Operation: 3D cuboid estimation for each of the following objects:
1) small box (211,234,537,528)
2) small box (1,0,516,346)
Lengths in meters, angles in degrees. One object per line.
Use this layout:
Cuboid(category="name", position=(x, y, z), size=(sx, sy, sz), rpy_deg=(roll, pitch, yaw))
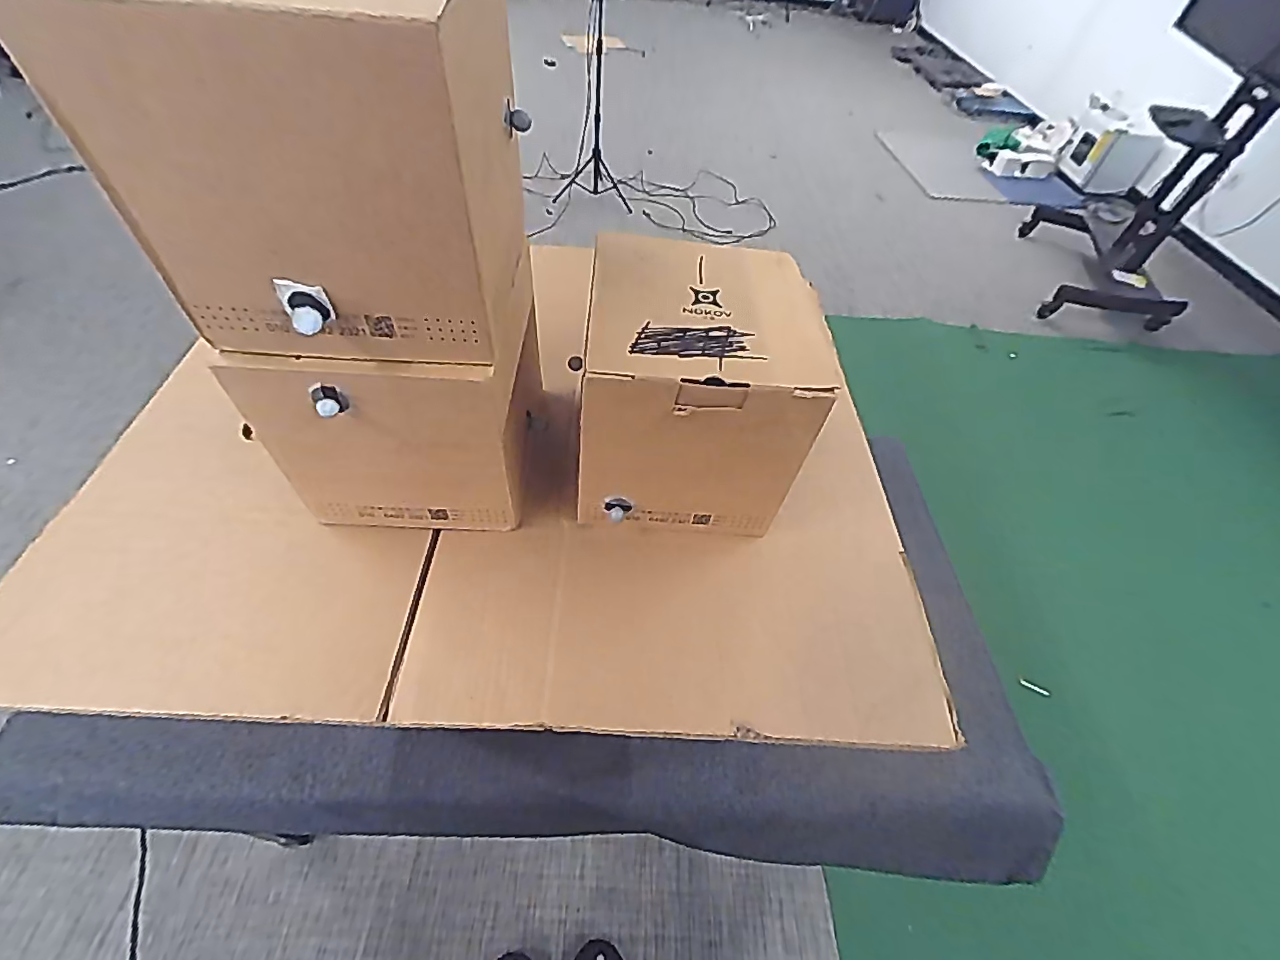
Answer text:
Cuboid(category="small box", position=(-0.179, -0.083, 0.438), size=(0.168, 0.176, 0.179), rpy_deg=(2, 51, -2))
Cuboid(category="small box", position=(-0.166, -0.200, 0.304), size=(0.168, 0.176, 0.179), rpy_deg=(0, 53, -5))
